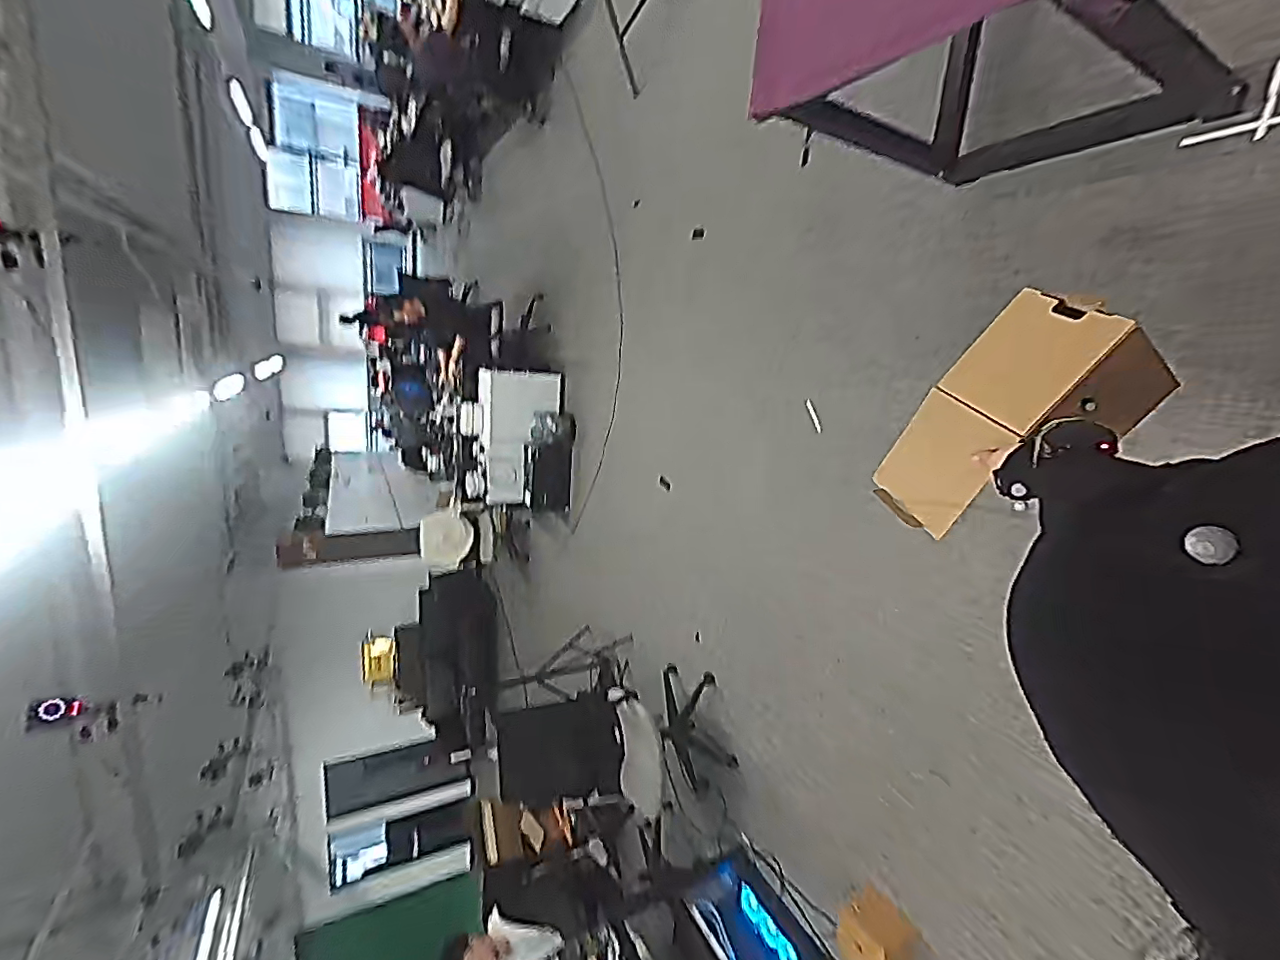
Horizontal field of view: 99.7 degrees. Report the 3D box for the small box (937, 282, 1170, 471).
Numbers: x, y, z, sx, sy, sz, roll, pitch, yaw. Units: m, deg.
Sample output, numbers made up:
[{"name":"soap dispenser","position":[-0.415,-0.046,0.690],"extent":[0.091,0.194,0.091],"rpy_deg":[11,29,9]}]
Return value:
[{"name":"small box","position":[0.578,-0.140,0.762],"extent":[0.179,0.176,0.168],"rpy_deg":[-53,32,21]}]
